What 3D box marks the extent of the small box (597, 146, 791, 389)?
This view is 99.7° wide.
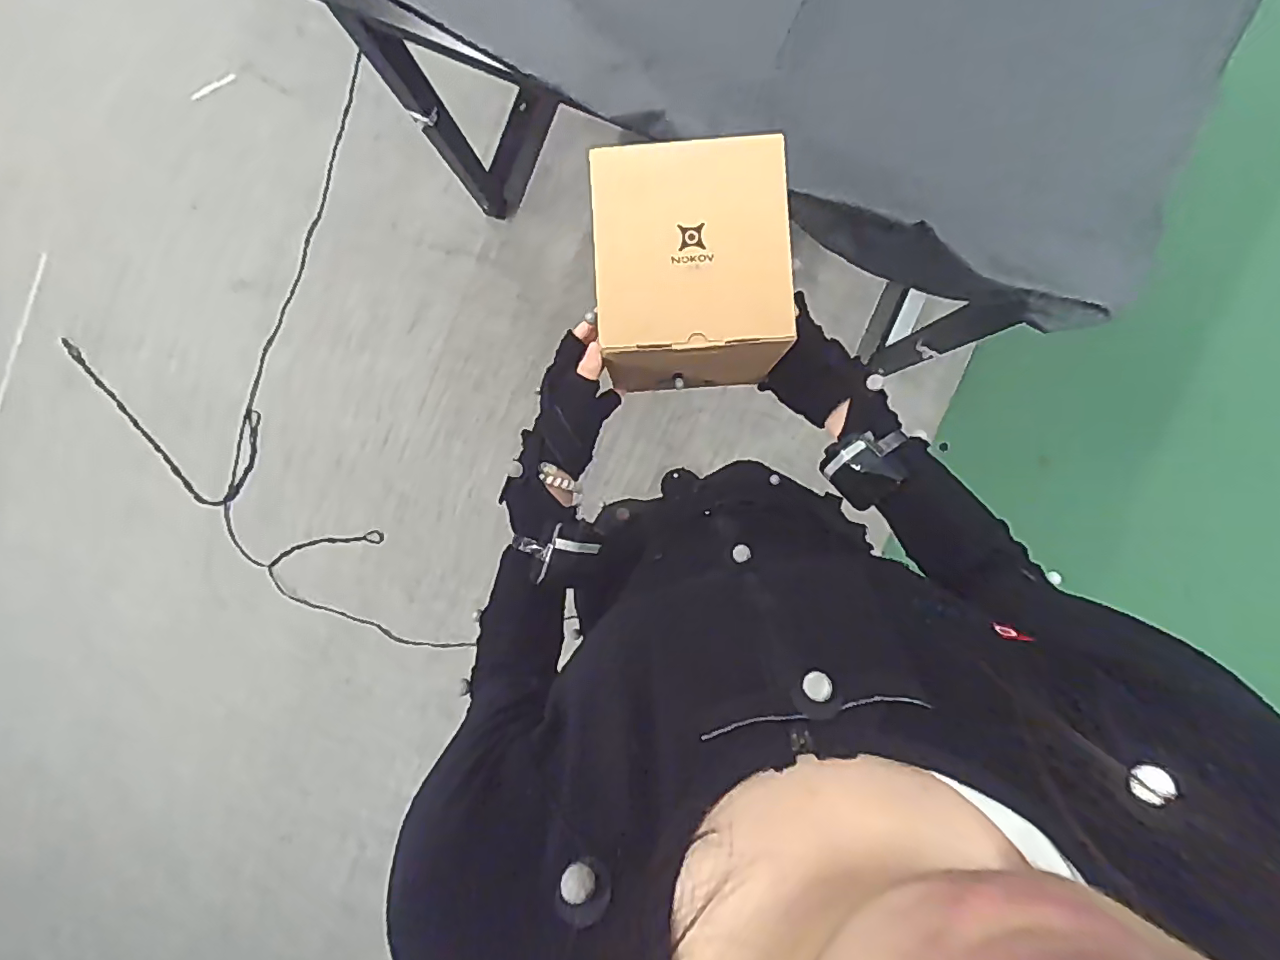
[{"bbox_3d":[0.047,-0.198,0.547,0.168,0.176,0.179,-3,89,2],"label":"small box"}]
